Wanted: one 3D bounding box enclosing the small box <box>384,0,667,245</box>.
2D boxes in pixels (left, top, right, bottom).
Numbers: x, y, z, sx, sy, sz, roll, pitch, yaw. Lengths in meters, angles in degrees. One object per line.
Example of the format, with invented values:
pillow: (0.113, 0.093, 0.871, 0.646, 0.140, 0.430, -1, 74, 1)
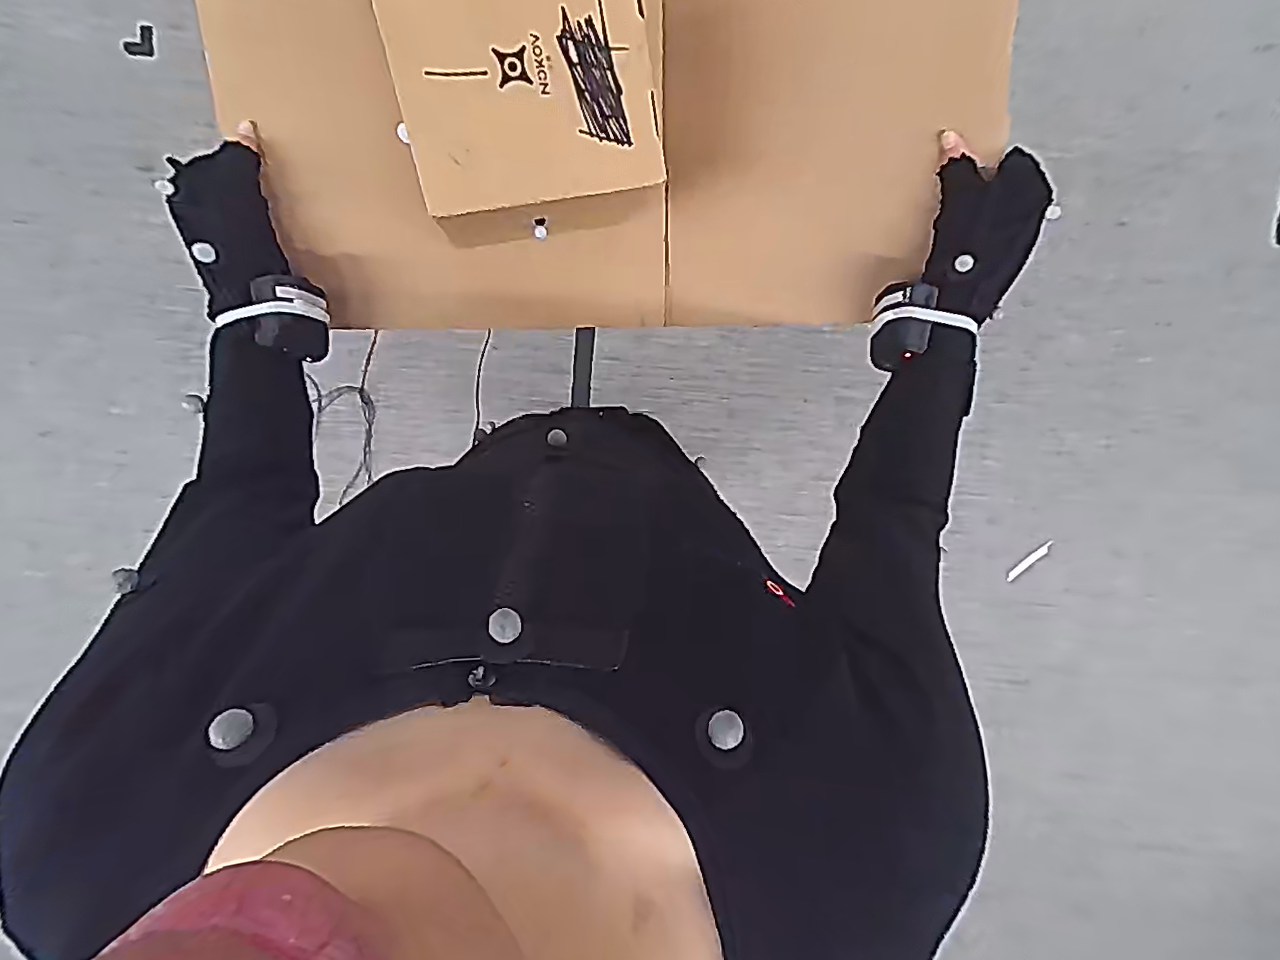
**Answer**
small box: (-0.091, -0.304, 0.451, 0.179, 0.176, 0.168, -13, 107, -8)
